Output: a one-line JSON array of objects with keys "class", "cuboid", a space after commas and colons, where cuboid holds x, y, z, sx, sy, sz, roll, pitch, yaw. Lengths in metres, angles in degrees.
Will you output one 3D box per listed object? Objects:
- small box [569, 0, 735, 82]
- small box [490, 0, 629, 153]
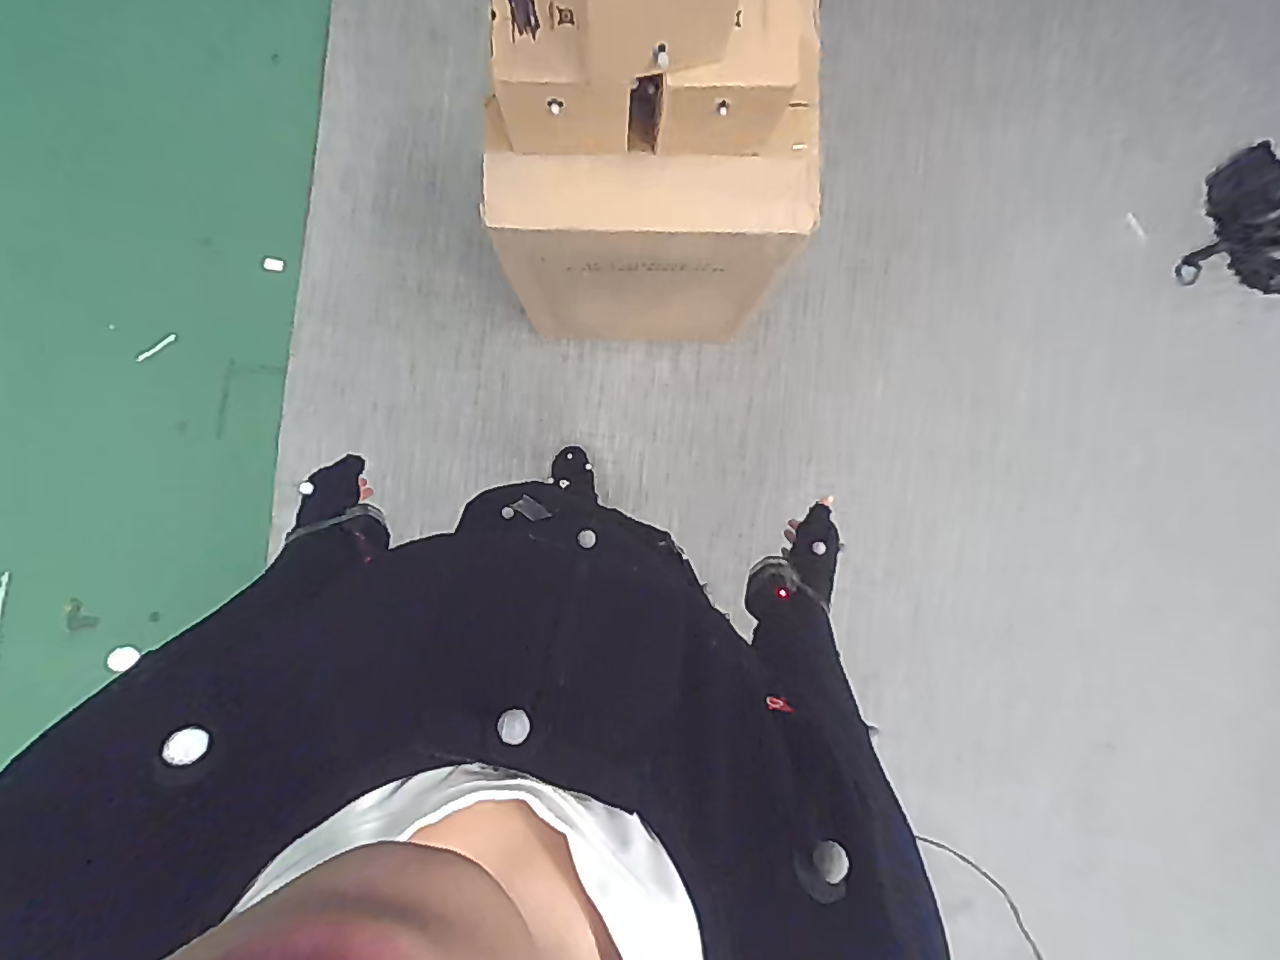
[{"class": "small box", "cuboid": [0.008, -0.591, 0.602, 0.179, 0.176, 0.168, -13, 94, -3]}, {"class": "small box", "cuboid": [-0.105, -0.588, 0.760, 0.179, 0.176, 0.168, -1, 93, -4]}]
